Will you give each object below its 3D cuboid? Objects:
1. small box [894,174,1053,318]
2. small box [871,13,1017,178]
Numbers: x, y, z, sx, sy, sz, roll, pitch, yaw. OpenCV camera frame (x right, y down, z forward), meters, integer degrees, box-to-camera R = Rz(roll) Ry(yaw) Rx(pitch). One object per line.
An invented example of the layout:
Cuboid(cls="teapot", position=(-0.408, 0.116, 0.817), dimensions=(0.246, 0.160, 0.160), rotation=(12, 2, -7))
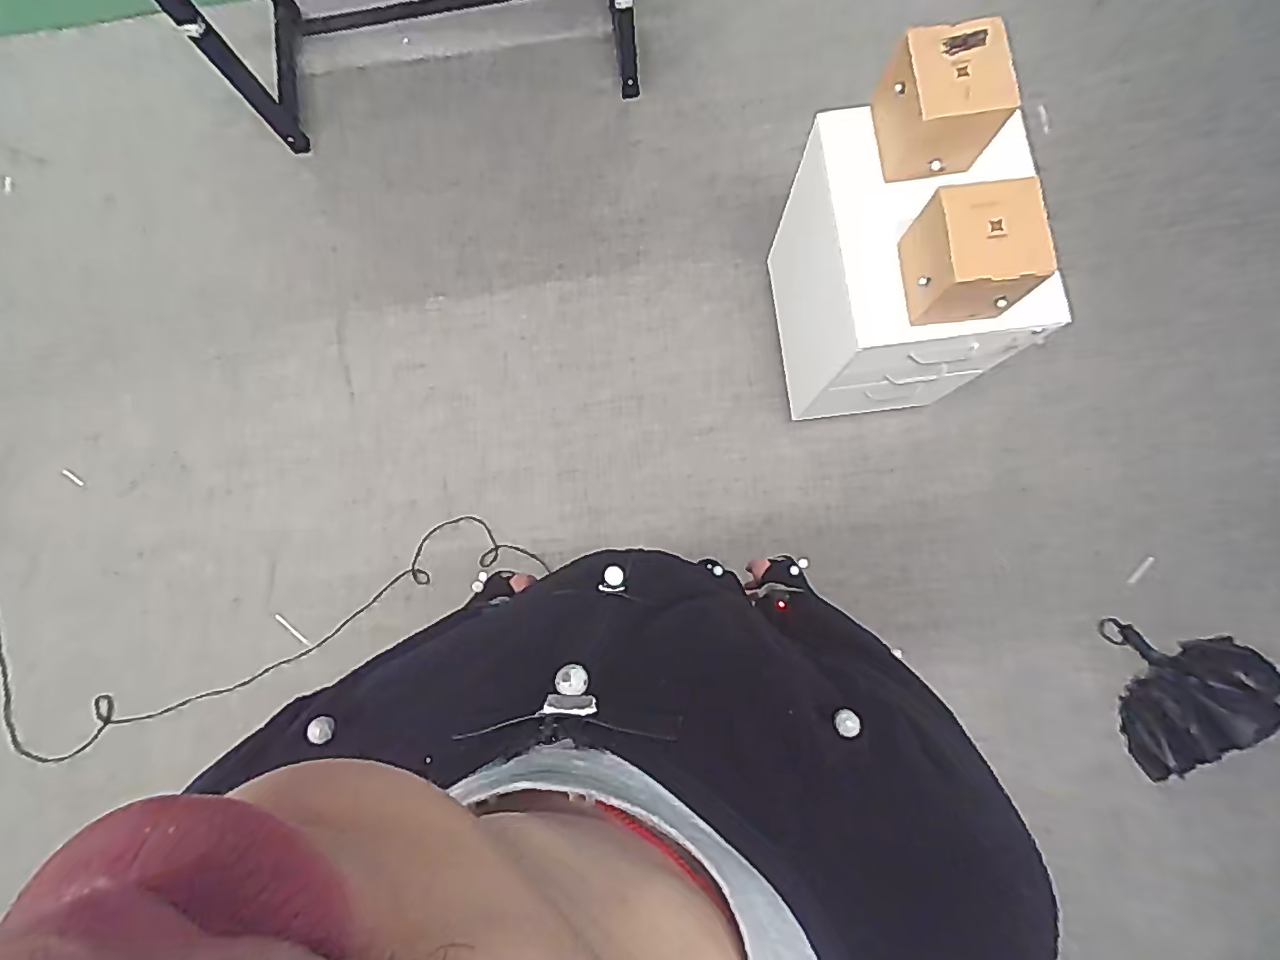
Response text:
Cuboid(cls="small box", position=(0.578, -0.401, 0.960), dimensions=(0.168, 0.176, 0.179), rotation=(-5, 81, 0))
Cuboid(cls="small box", position=(0.546, -0.697, 0.997), dimensions=(0.168, 0.176, 0.179), rotation=(-7, 84, 1))
